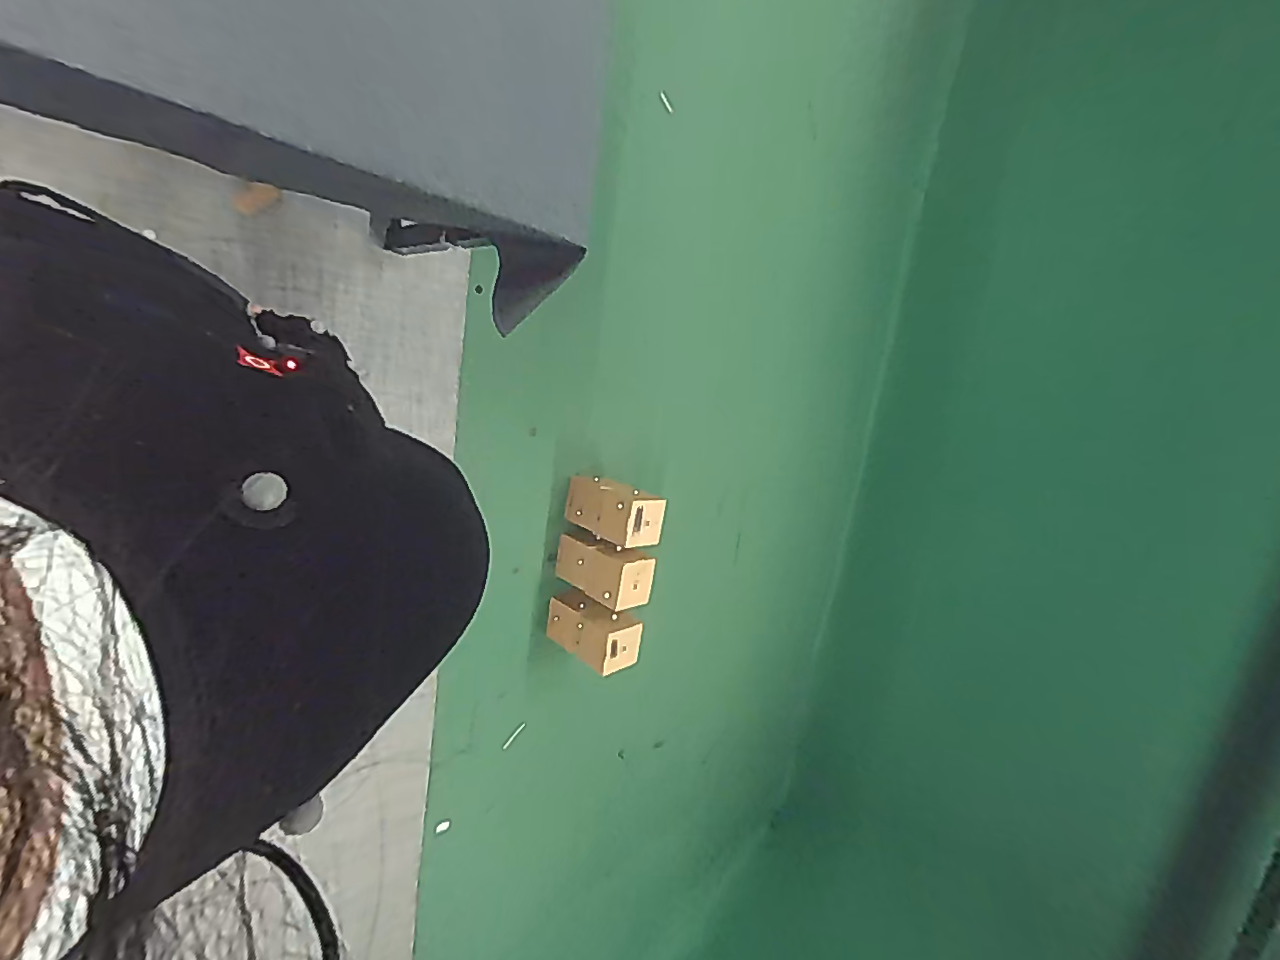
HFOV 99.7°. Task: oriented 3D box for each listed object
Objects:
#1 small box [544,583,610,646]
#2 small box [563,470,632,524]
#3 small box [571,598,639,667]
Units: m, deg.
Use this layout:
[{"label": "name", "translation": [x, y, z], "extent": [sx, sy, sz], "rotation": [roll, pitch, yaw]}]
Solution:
[{"label": "small box", "translation": [-0.246, 0.512, 2.094], "extent": [0.179, 0.176, 0.168], "rotation": [-2, 107, -46]}, {"label": "small box", "translation": [-0.163, 0.061, 2.013], "extent": [0.179, 0.176, 0.168], "rotation": [4, 102, -47]}, {"label": "small box", "translation": [-0.131, 0.554, 1.984], "extent": [0.179, 0.176, 0.168], "rotation": [-4, 108, -46]}]
